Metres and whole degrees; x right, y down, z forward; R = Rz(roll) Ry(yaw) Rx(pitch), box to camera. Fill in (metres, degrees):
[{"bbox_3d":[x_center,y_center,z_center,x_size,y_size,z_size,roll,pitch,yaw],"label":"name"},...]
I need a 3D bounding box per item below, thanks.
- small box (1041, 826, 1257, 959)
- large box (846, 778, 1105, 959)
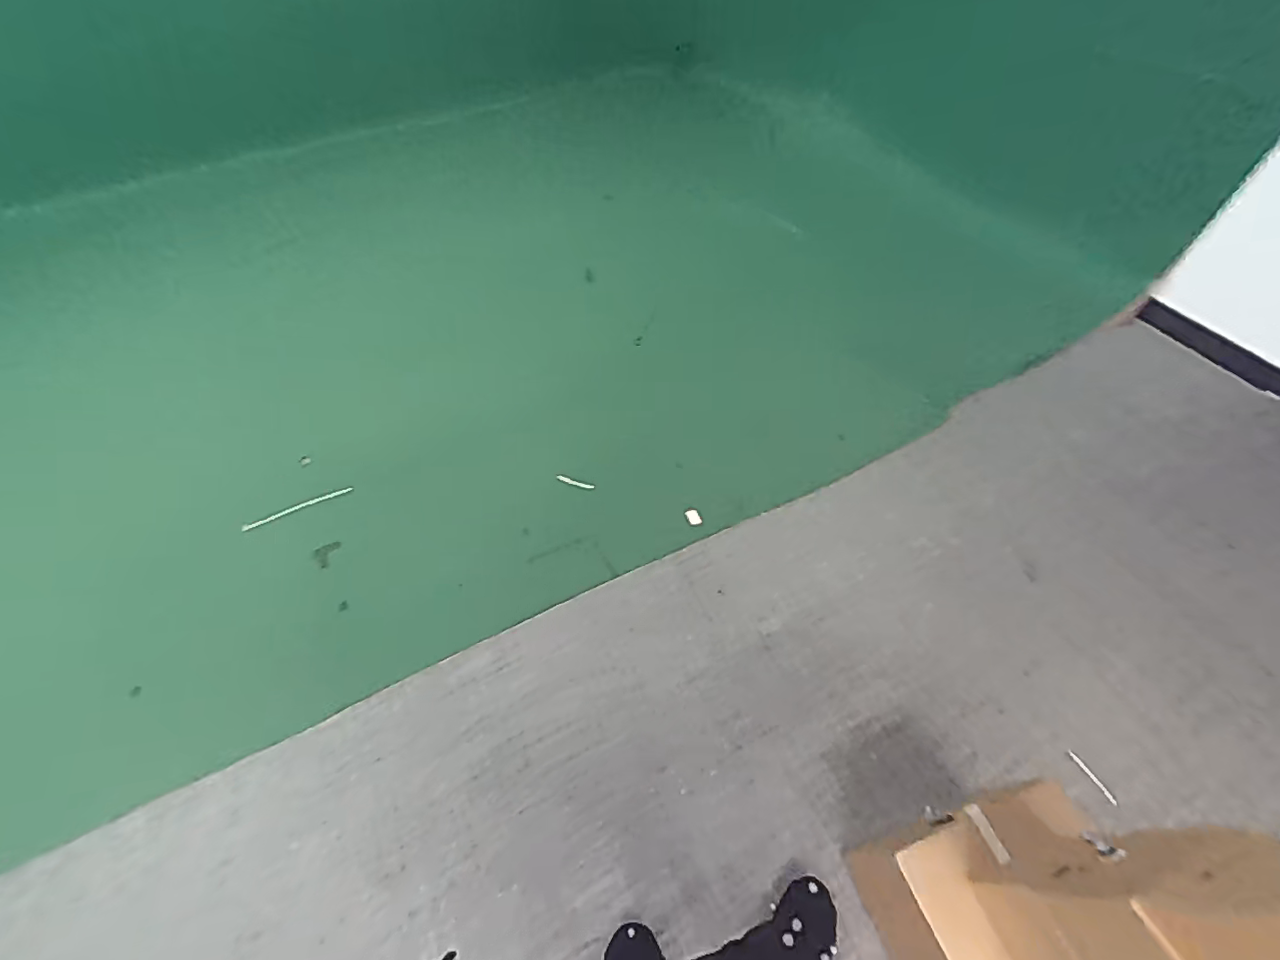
[{"bbox_3d":[0.587,0.494,0.565,0.168,0.176,0.179,-20,56,-12],"label":"small box"},{"bbox_3d":[0.609,0.764,0.872,0.320,0.320,0.408,-19,57,-9],"label":"large box"}]
